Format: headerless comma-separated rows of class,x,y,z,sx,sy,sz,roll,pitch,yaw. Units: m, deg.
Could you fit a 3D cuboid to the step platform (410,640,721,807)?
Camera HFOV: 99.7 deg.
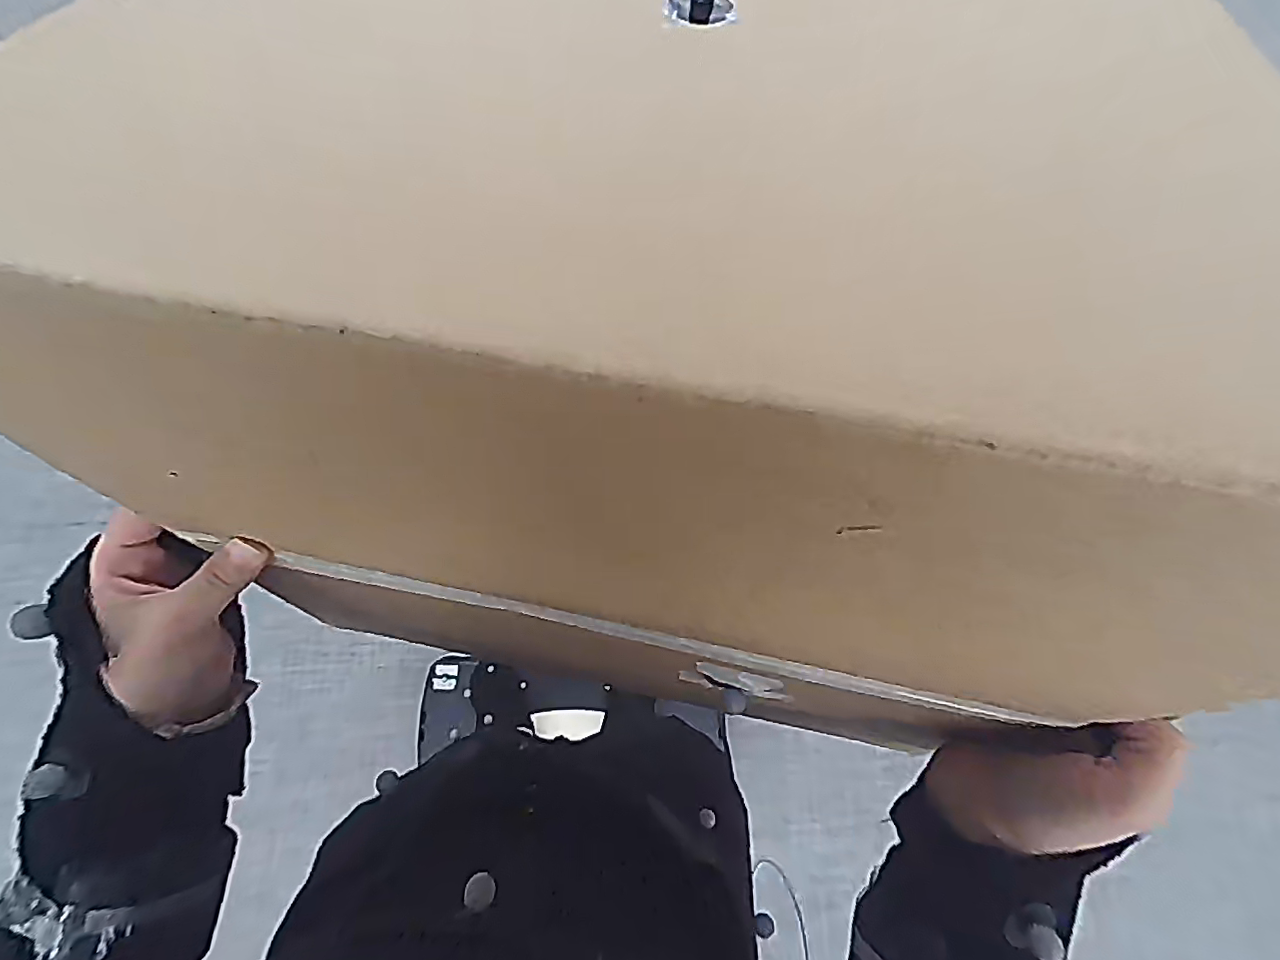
step platform,-0.157,0.544,1.240,0.684,0.204,0.286,5,76,1
